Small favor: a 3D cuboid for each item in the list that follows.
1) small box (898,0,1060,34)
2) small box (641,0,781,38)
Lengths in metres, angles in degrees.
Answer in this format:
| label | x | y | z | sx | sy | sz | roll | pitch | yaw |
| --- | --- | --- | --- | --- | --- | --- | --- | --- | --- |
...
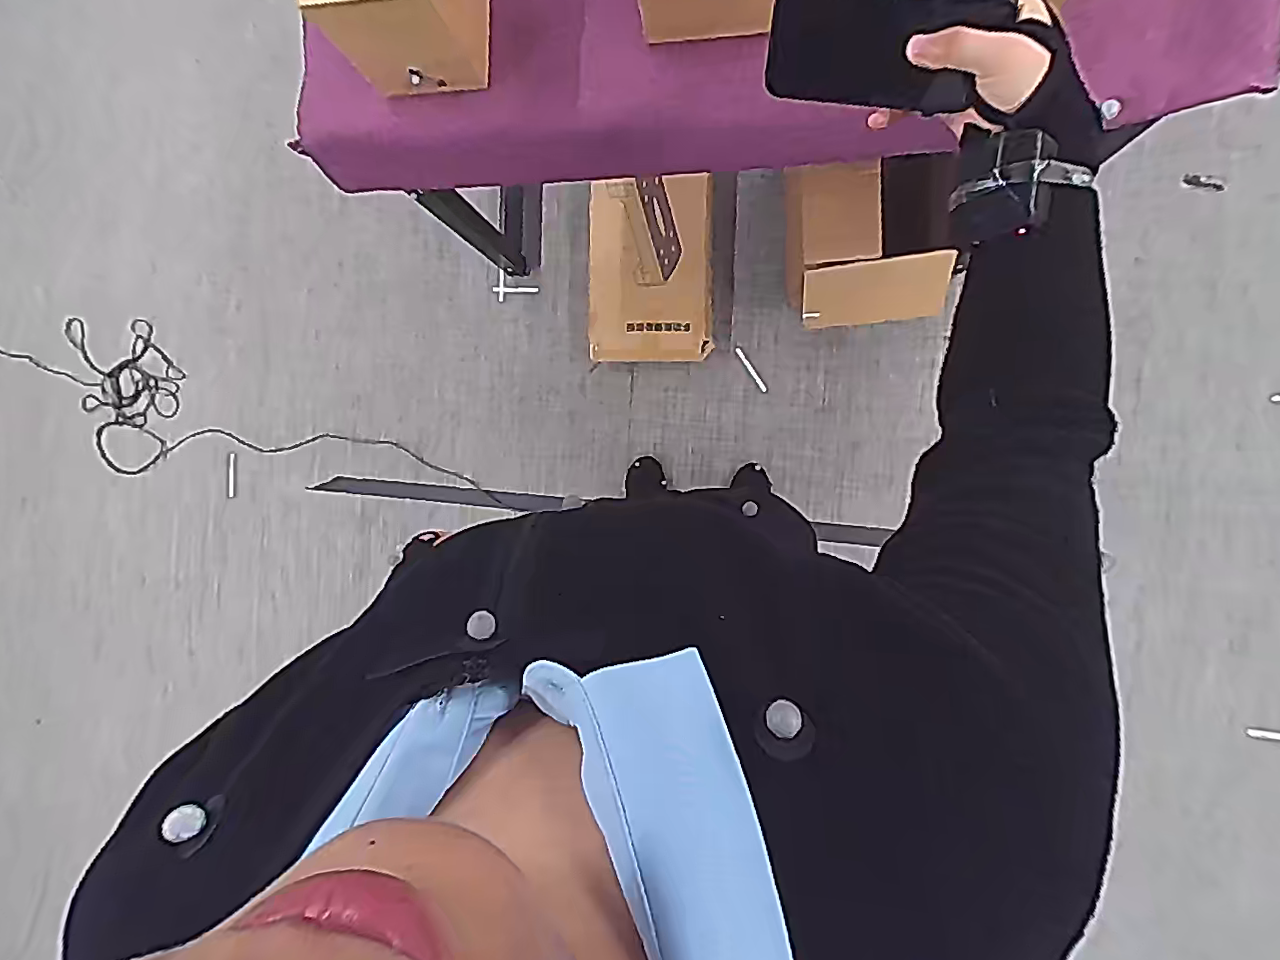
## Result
| label | x | y | z | sx | sy | sz | roll | pitch | yaw |
| --- | --- | --- | --- | --- | --- | --- | --- | --- | --- |
| small box | 0.400 | -0.625 | 0.579 | 0.179 | 0.176 | 0.168 | 9 | 94 | 8 |
| small box | 0.087 | -0.660 | 0.625 | 0.179 | 0.176 | 0.168 | 2 | 91 | 9 |
